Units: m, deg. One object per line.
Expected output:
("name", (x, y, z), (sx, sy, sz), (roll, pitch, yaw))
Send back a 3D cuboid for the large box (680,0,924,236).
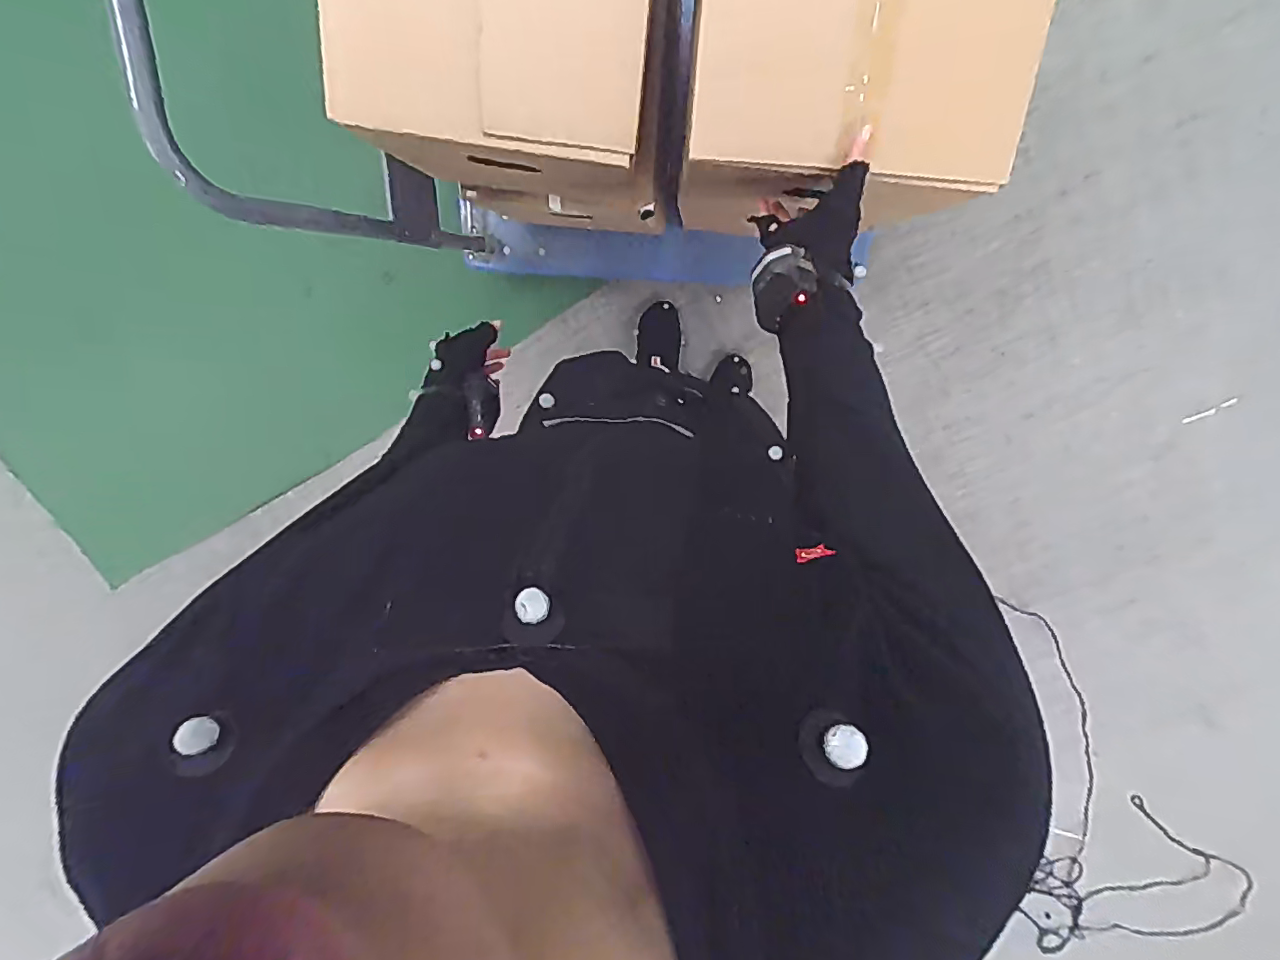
("large box", (0.242, -0.645, 0.904), (0.320, 0.320, 0.408), (7, 111, 6))
